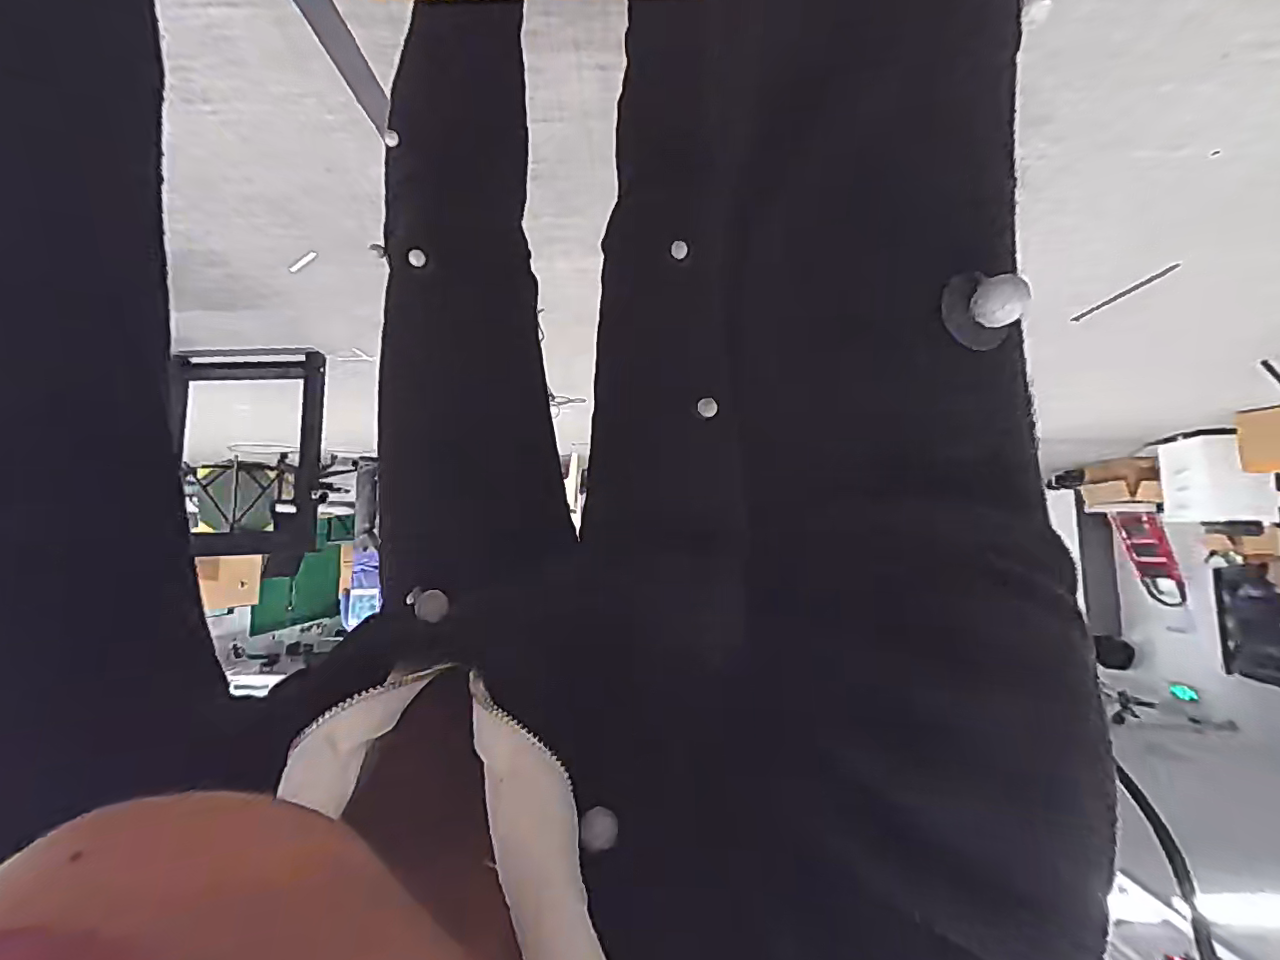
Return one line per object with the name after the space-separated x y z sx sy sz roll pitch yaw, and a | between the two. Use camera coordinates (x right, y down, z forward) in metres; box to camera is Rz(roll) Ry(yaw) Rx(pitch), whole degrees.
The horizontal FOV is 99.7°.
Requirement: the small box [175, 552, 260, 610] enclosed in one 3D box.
-1.354 0.318 1.727 0.168 0.176 0.179 -1 174 3 | small box
